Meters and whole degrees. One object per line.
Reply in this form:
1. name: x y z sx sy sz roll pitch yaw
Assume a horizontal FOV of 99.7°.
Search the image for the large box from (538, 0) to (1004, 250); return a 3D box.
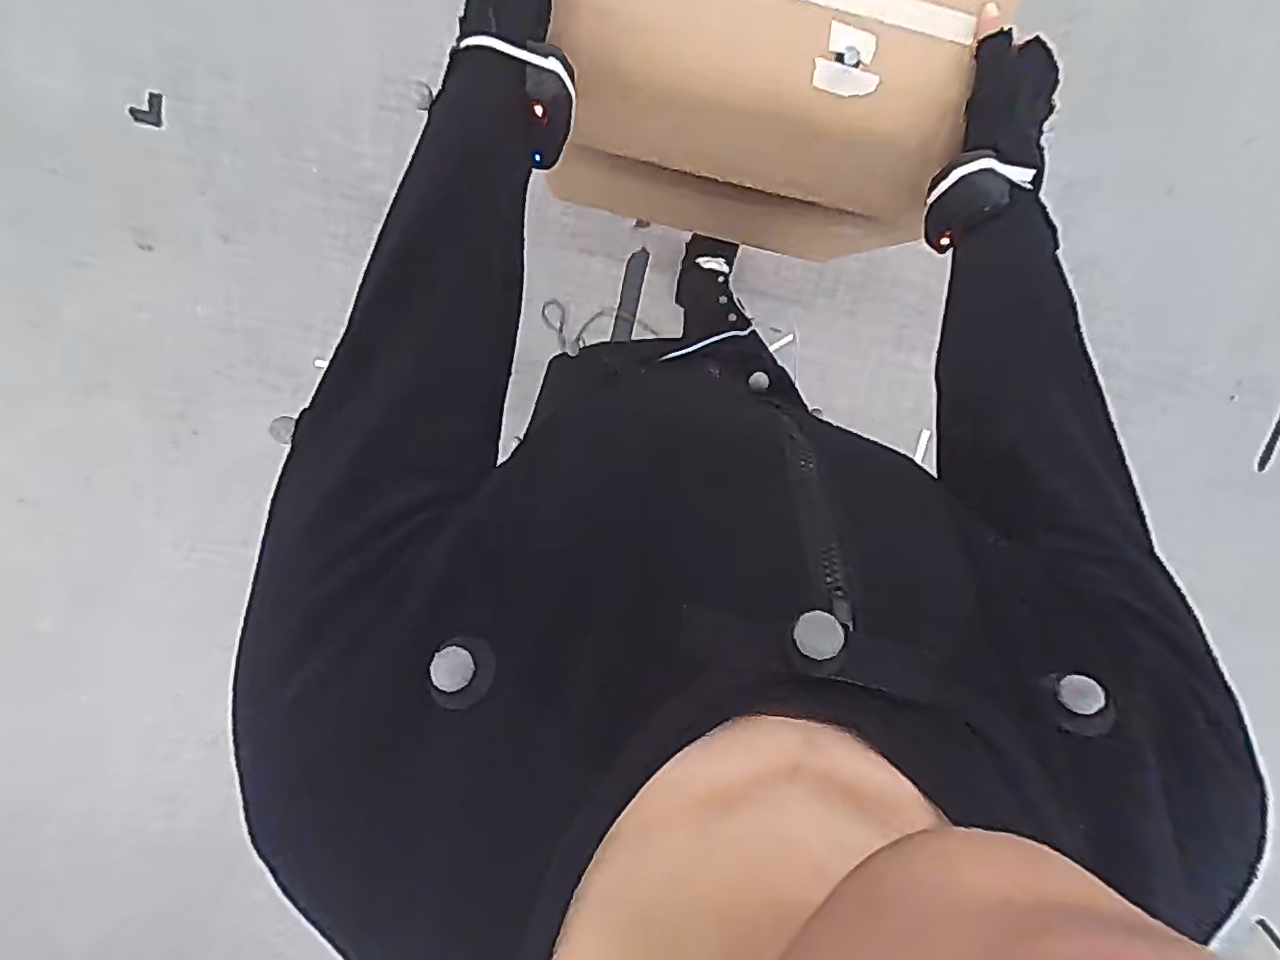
1. large box: 0.113 -0.474 0.614 0.408 0.320 0.320 9 108 -7
